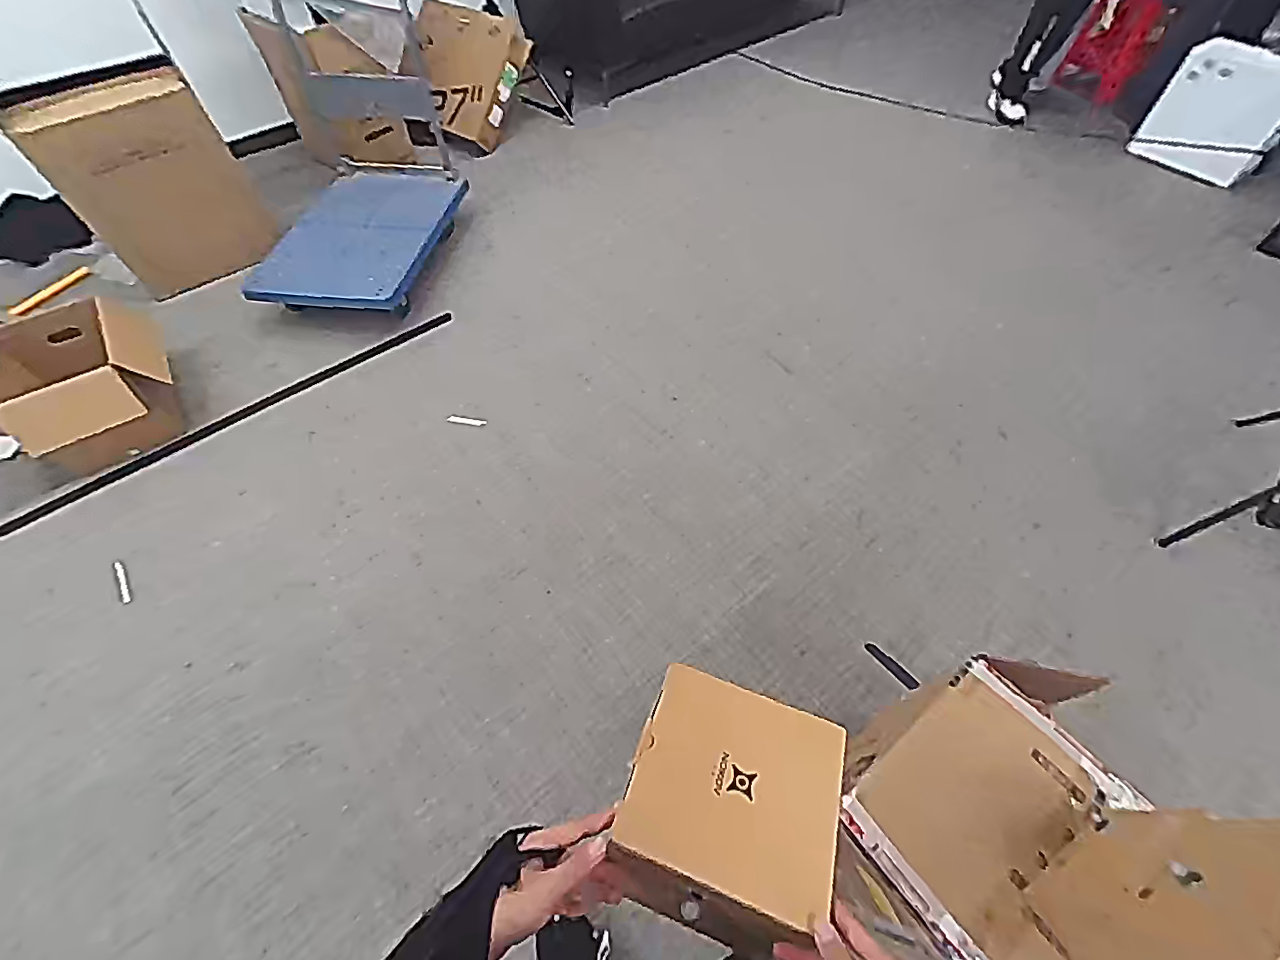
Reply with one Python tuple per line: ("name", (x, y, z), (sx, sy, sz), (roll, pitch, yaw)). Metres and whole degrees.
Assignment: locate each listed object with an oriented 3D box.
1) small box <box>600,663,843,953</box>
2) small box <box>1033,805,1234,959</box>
("small box", (0.072, 0.312, 0.514), (0.179, 0.176, 0.168), (17, 44, 11))
("small box", (0.576, 0.479, 0.569), (0.168, 0.176, 0.179), (-30, 62, -15))
